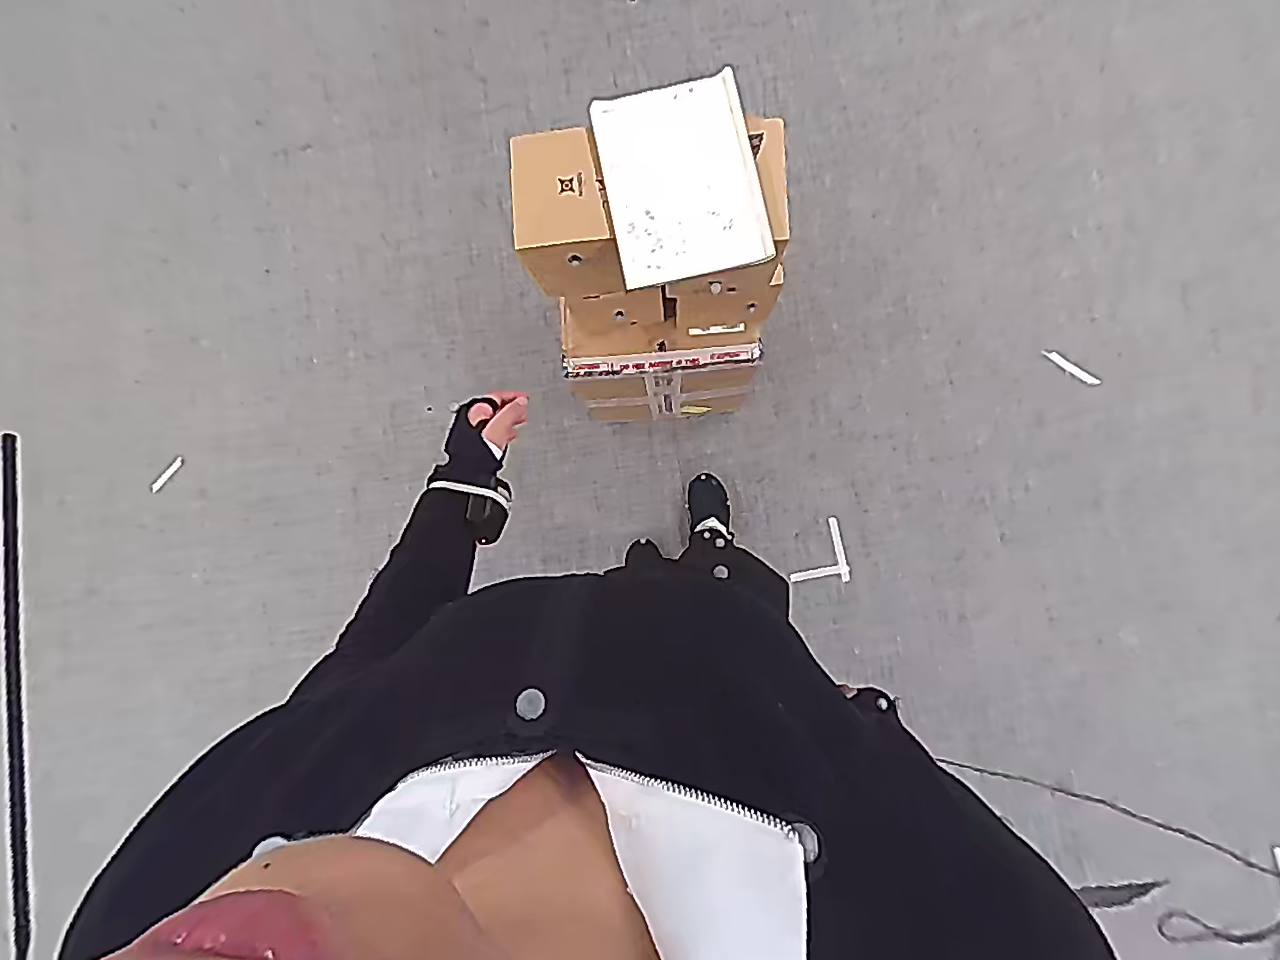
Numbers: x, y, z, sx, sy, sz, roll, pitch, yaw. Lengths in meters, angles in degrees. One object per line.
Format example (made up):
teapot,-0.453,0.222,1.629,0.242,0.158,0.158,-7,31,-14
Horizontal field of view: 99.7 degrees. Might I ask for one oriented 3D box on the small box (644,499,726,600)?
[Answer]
small box,0.117,0.184,1.433,0.168,0.179,0.176,-20,128,18
